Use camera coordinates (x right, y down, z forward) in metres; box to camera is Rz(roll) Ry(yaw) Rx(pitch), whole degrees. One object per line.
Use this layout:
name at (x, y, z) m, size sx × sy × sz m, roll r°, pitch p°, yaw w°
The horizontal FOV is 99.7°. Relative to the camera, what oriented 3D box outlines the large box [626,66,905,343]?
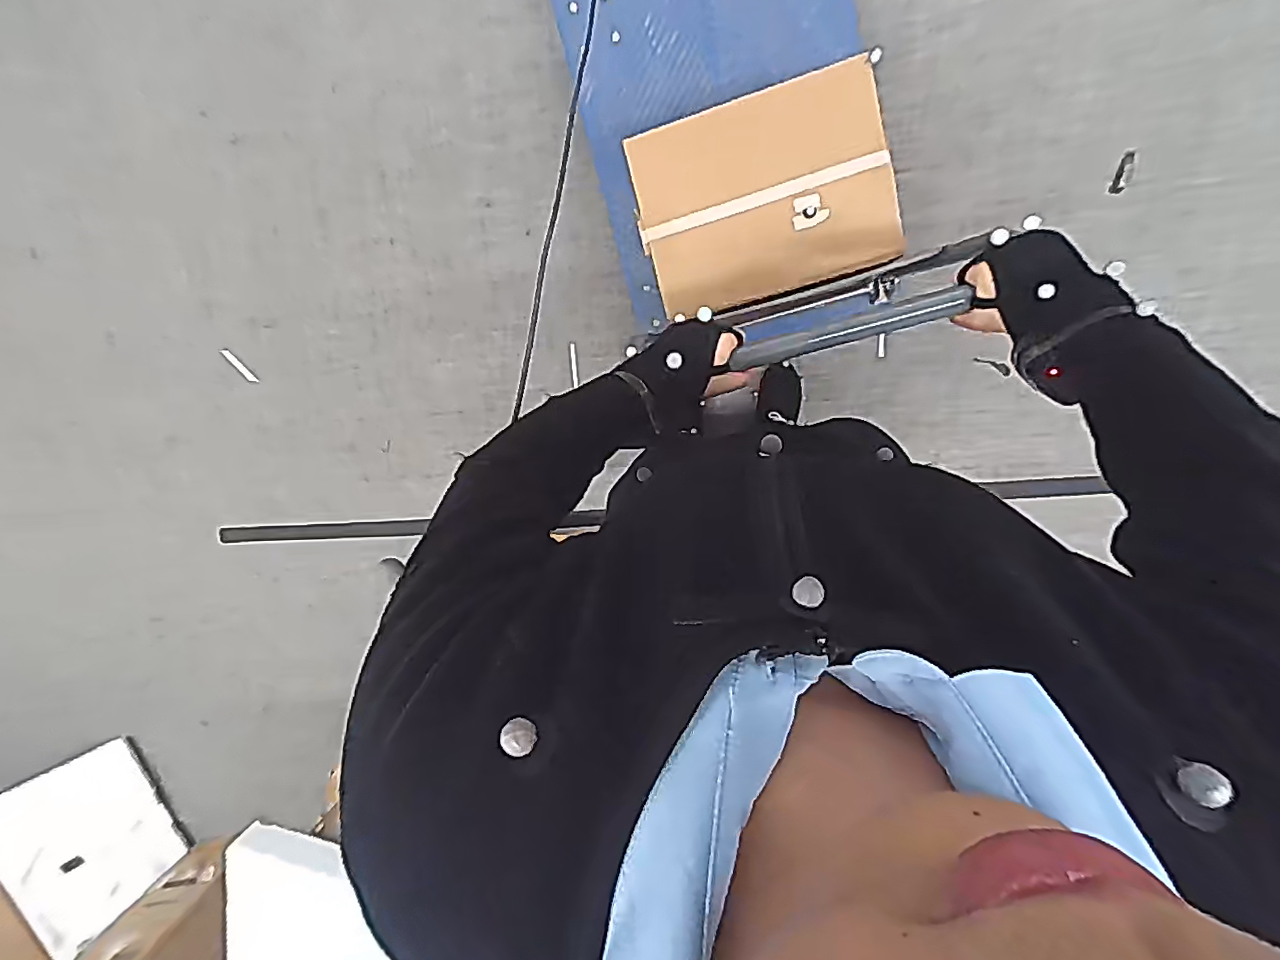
large box at (0.220, -0.475, 1.033) m, size 0.408 × 0.320 × 0.320 m, roll -14°, pitch 100°, yaw 9°
